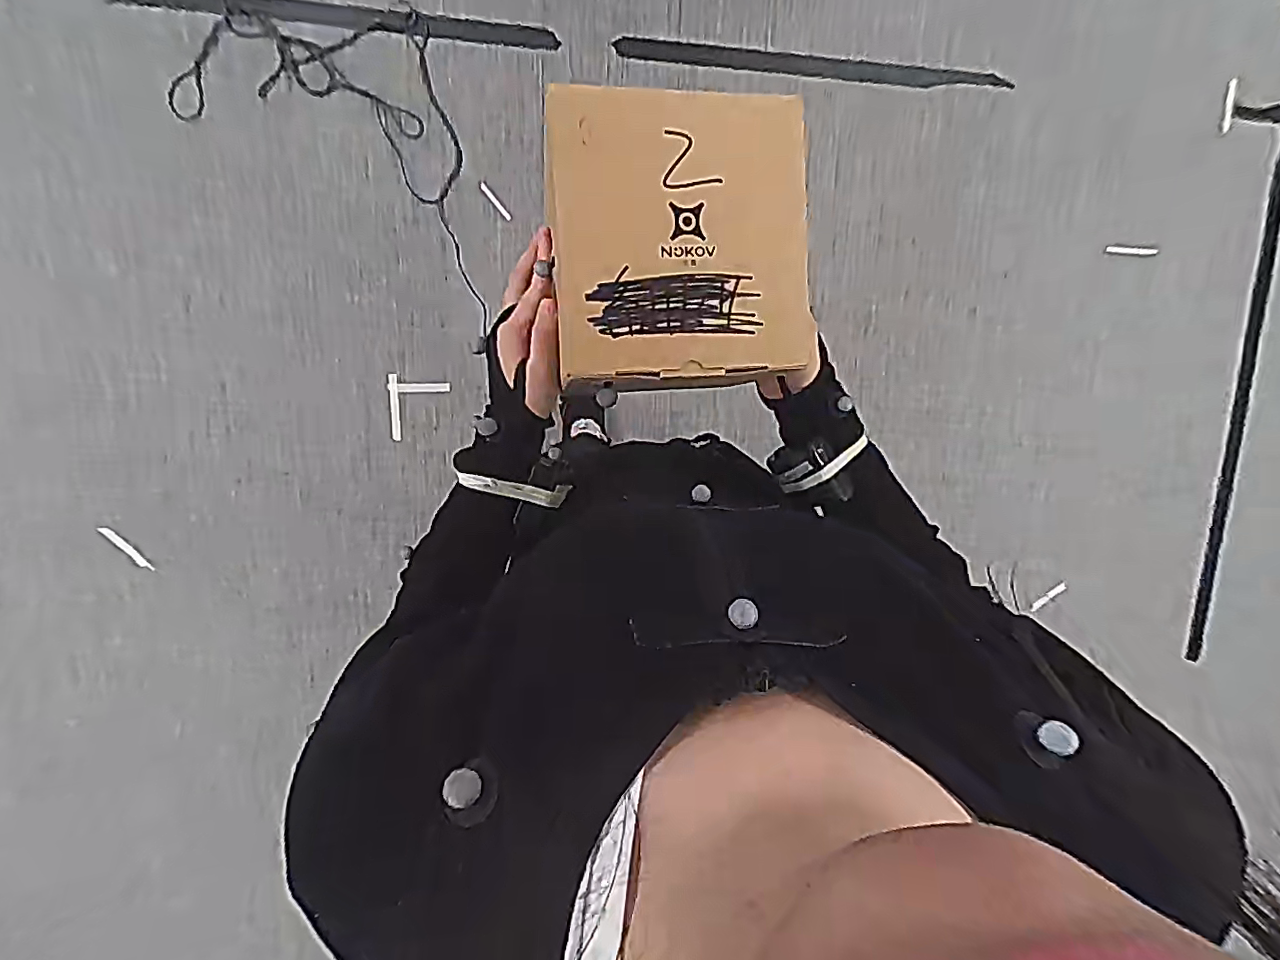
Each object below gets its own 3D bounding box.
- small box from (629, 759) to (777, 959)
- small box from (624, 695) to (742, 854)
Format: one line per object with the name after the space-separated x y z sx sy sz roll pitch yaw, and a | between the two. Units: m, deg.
0.073 0.500 0.725 0.168 0.176 0.179 1 99 -5 | small box
0.062 0.478 0.886 0.168 0.176 0.179 0 98 -5 | small box
